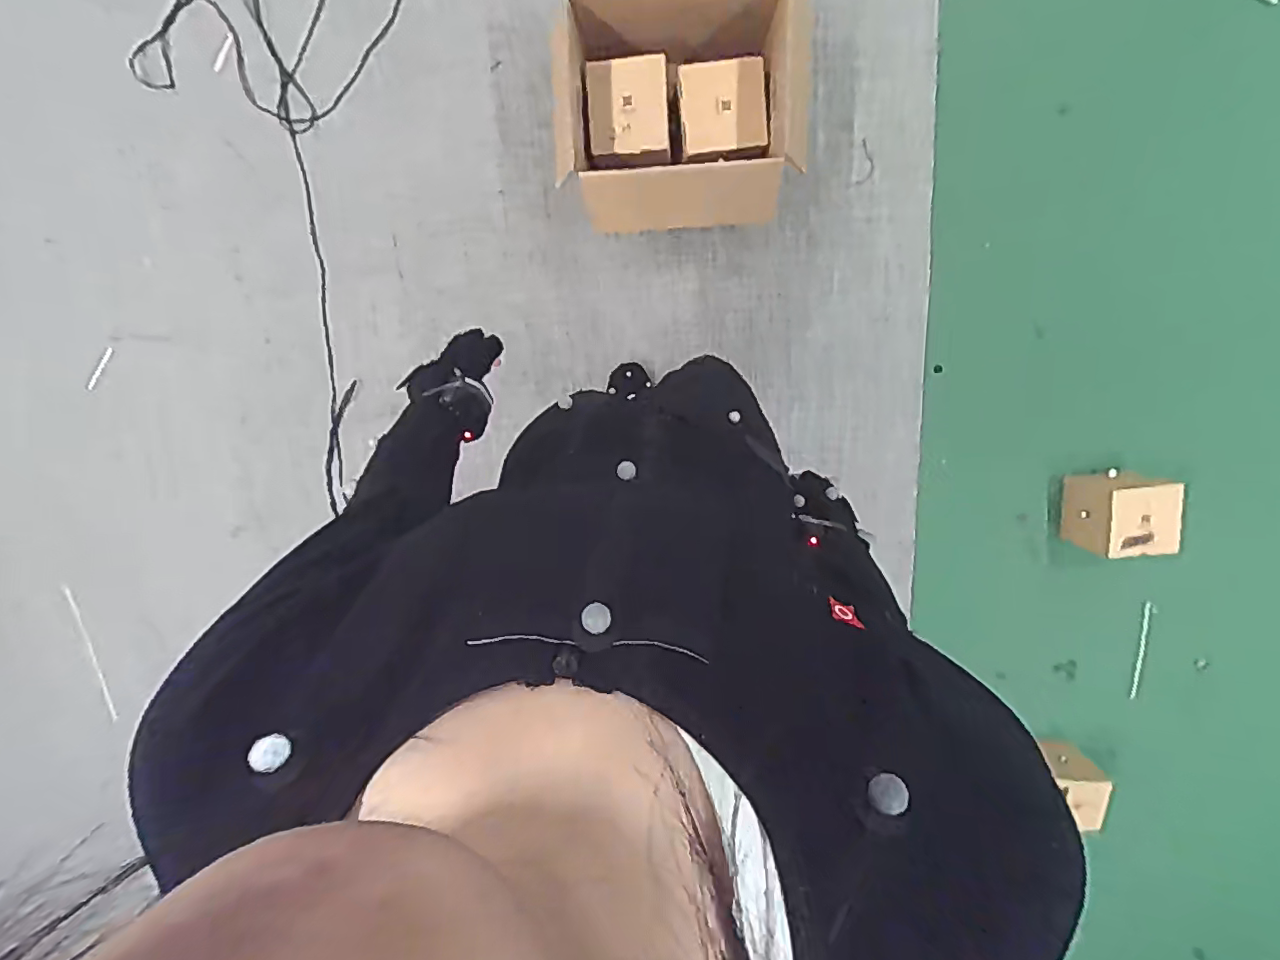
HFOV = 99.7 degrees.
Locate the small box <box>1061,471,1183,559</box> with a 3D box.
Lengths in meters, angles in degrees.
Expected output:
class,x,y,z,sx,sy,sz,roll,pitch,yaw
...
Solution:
class,x,y,z,sx,sy,sz,roll,pitch,yaw
small box,1.219,0.085,1.382,0.168,0.176,0.179,-6,102,3
